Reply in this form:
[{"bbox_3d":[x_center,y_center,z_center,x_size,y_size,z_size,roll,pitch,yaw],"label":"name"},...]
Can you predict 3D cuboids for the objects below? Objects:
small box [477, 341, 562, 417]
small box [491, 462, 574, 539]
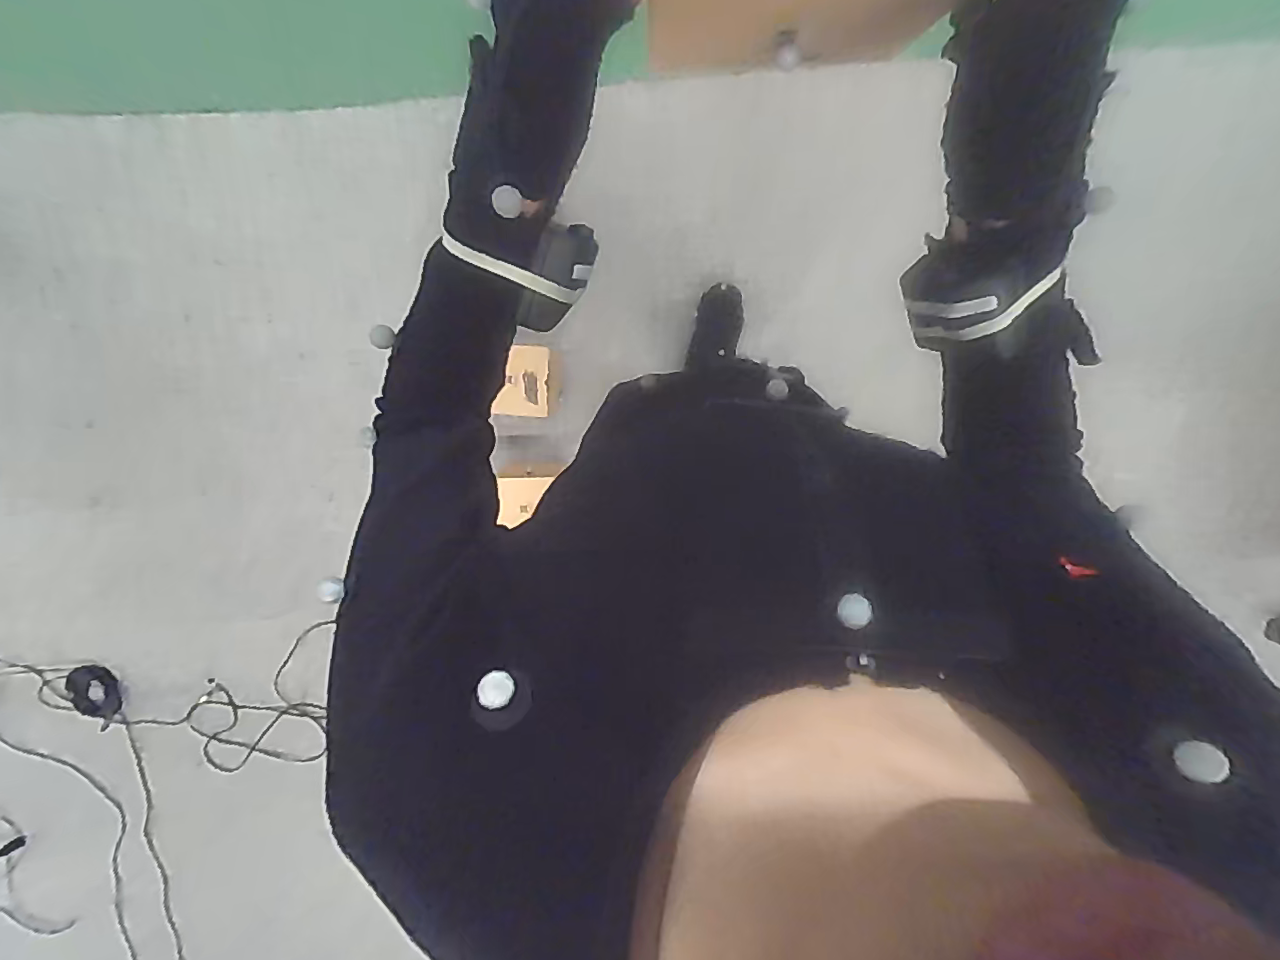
[{"bbox_3d":[-0.292,-0.256,1.342,0.179,0.176,0.168,5,103,2],"label":"small box"},{"bbox_3d":[-0.276,0.049,1.418,0.179,0.176,0.168,-2,104,2],"label":"small box"}]
